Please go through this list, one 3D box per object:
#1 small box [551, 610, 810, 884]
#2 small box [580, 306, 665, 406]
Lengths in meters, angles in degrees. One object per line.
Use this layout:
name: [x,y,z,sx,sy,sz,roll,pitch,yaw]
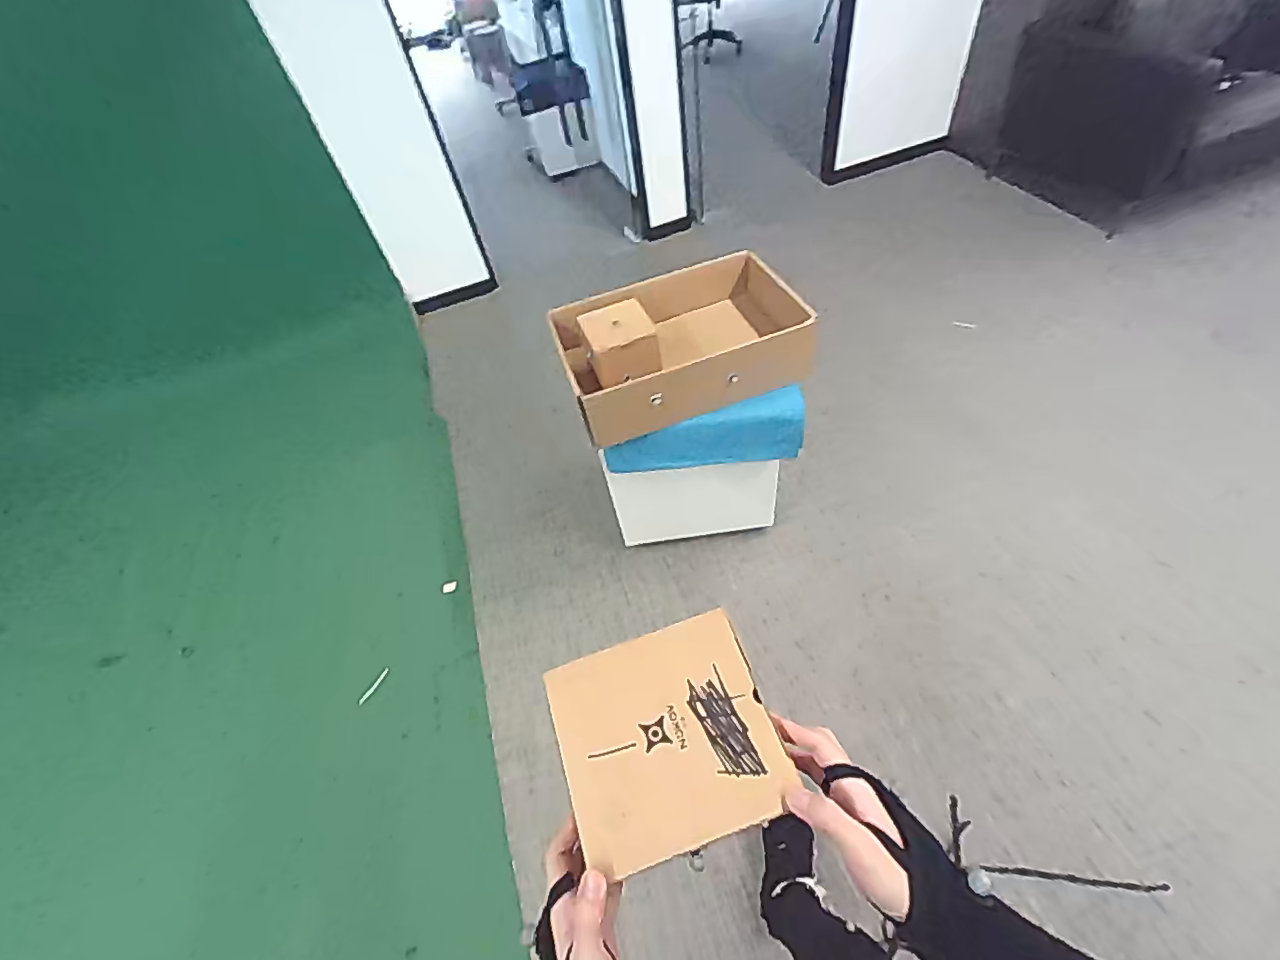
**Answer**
small box: [0.032,0.250,0.510,0.179,0.176,0.168,-18,55,-6]
small box: [-0.044,-0.324,1.419,0.168,0.176,0.179,-20,50,-7]
